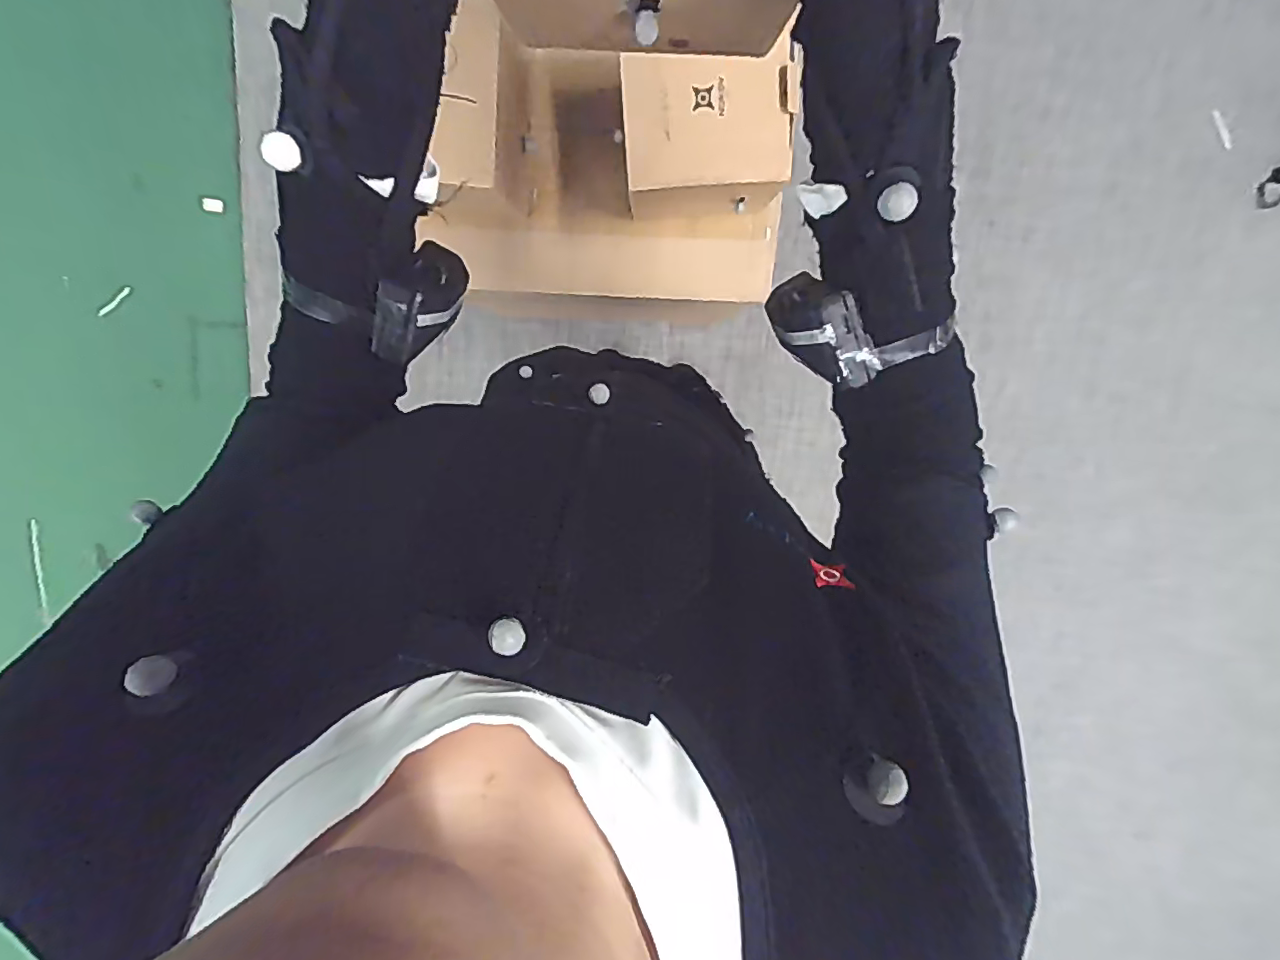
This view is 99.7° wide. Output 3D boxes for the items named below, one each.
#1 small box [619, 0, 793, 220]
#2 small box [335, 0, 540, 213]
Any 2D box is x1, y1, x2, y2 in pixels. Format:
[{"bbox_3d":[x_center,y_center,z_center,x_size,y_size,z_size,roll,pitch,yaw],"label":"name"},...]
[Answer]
[{"bbox_3d":[0.072,-0.415,0.634,0.179,0.176,0.168,-3,104,4],"label":"small box"},{"bbox_3d":[-0.227,-0.427,0.640,0.179,0.176,0.168,7,106,0],"label":"small box"}]
